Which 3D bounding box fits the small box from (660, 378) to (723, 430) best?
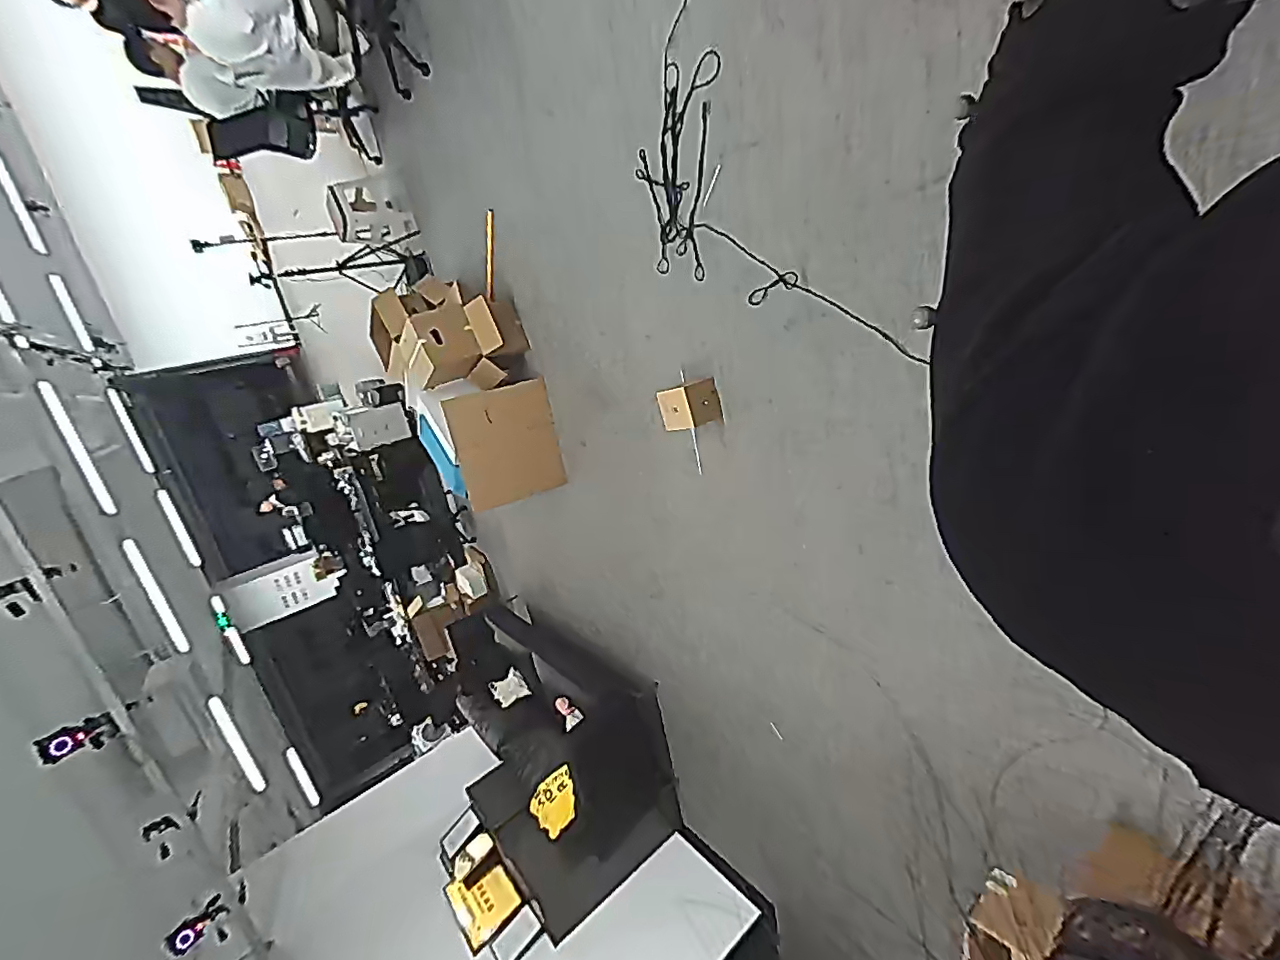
[{"bbox_3d":[0.215,-0.307,2.181,0.179,0.176,0.168,1,111,55],"label":"small box"}]
